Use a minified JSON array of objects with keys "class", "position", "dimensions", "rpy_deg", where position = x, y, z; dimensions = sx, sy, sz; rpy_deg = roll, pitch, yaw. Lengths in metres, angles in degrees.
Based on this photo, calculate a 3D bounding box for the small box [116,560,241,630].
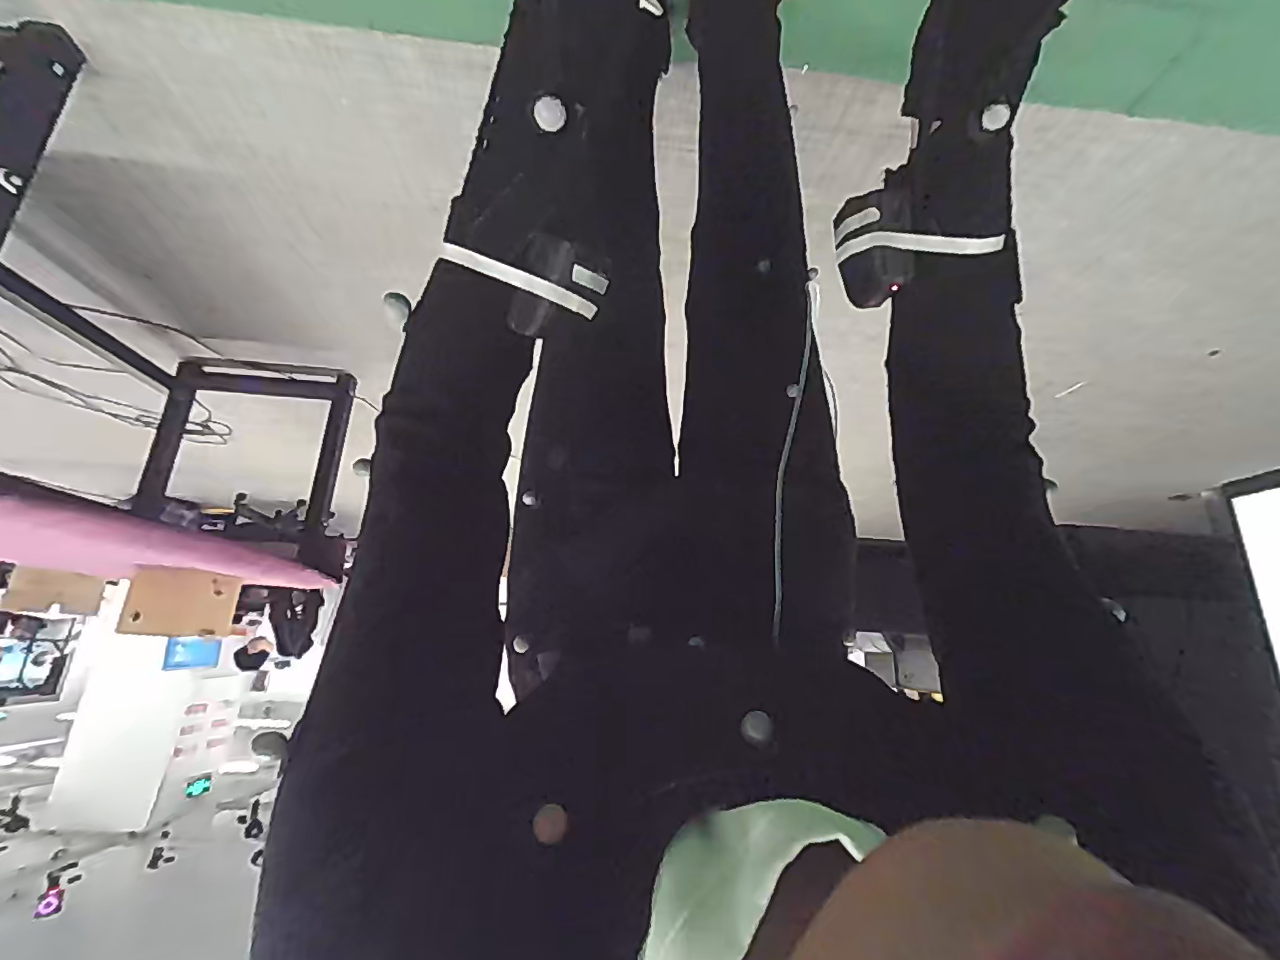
[{"class":"small box","position":[-1.230,0.310,1.456],"dimensions":[0.179,0.176,0.168],"rpy_deg":[3,164,2]}]
